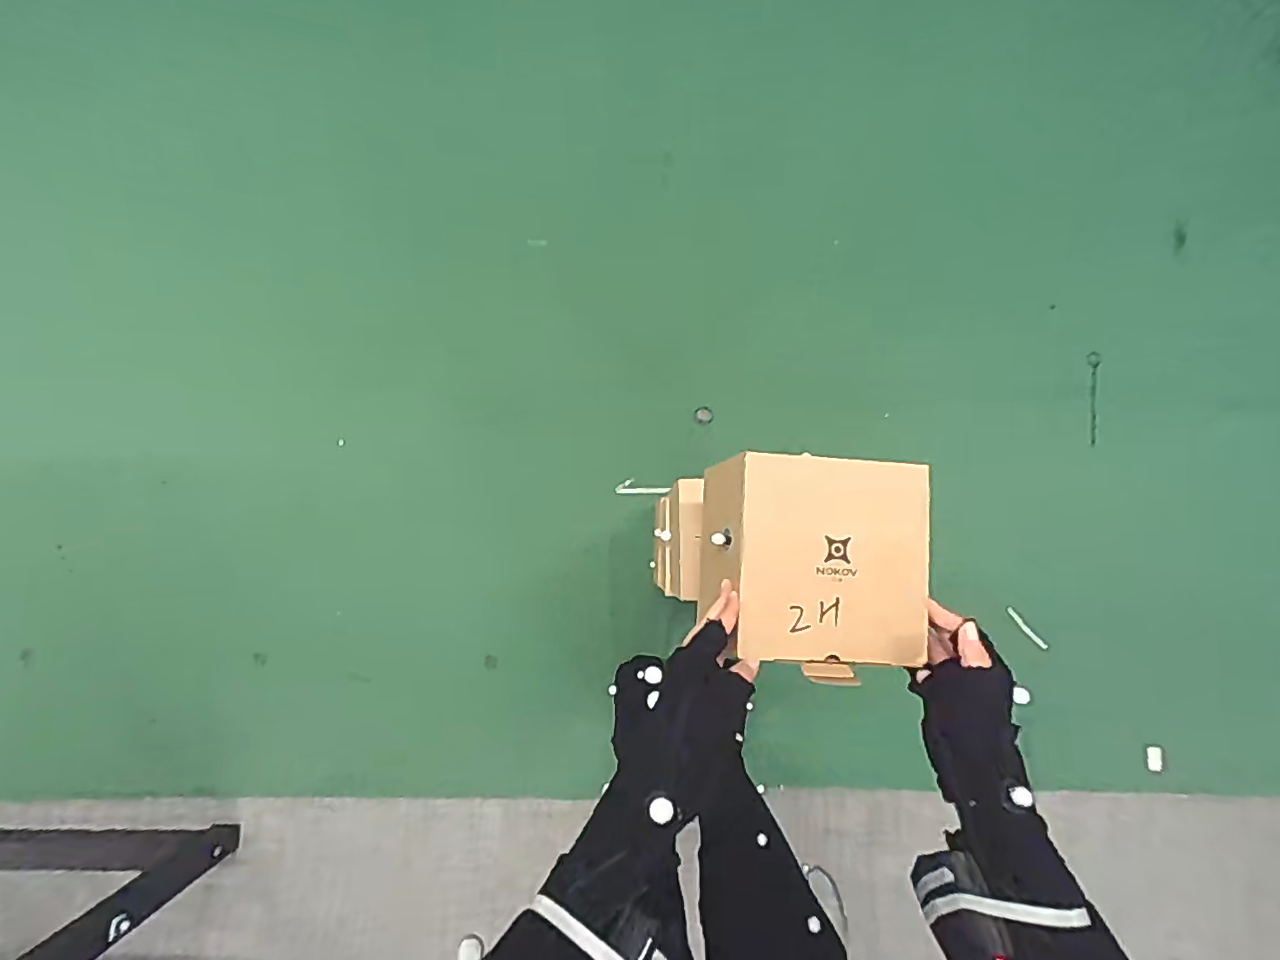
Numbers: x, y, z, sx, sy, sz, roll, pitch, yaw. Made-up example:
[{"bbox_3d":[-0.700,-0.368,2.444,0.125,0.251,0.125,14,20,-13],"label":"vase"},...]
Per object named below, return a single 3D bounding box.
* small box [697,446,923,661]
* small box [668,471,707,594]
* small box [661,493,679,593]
[{"bbox_3d":[0.154,0.069,0.538,0.168,0.176,0.179,3,86,-4],"label":"small box"},{"bbox_3d":[0.138,0.084,0.803,0.179,0.176,0.168,2,81,-1],"label":"small box"},{"bbox_3d":[0.129,0.115,0.967,0.179,0.176,0.168,0,83,-1],"label":"small box"}]
